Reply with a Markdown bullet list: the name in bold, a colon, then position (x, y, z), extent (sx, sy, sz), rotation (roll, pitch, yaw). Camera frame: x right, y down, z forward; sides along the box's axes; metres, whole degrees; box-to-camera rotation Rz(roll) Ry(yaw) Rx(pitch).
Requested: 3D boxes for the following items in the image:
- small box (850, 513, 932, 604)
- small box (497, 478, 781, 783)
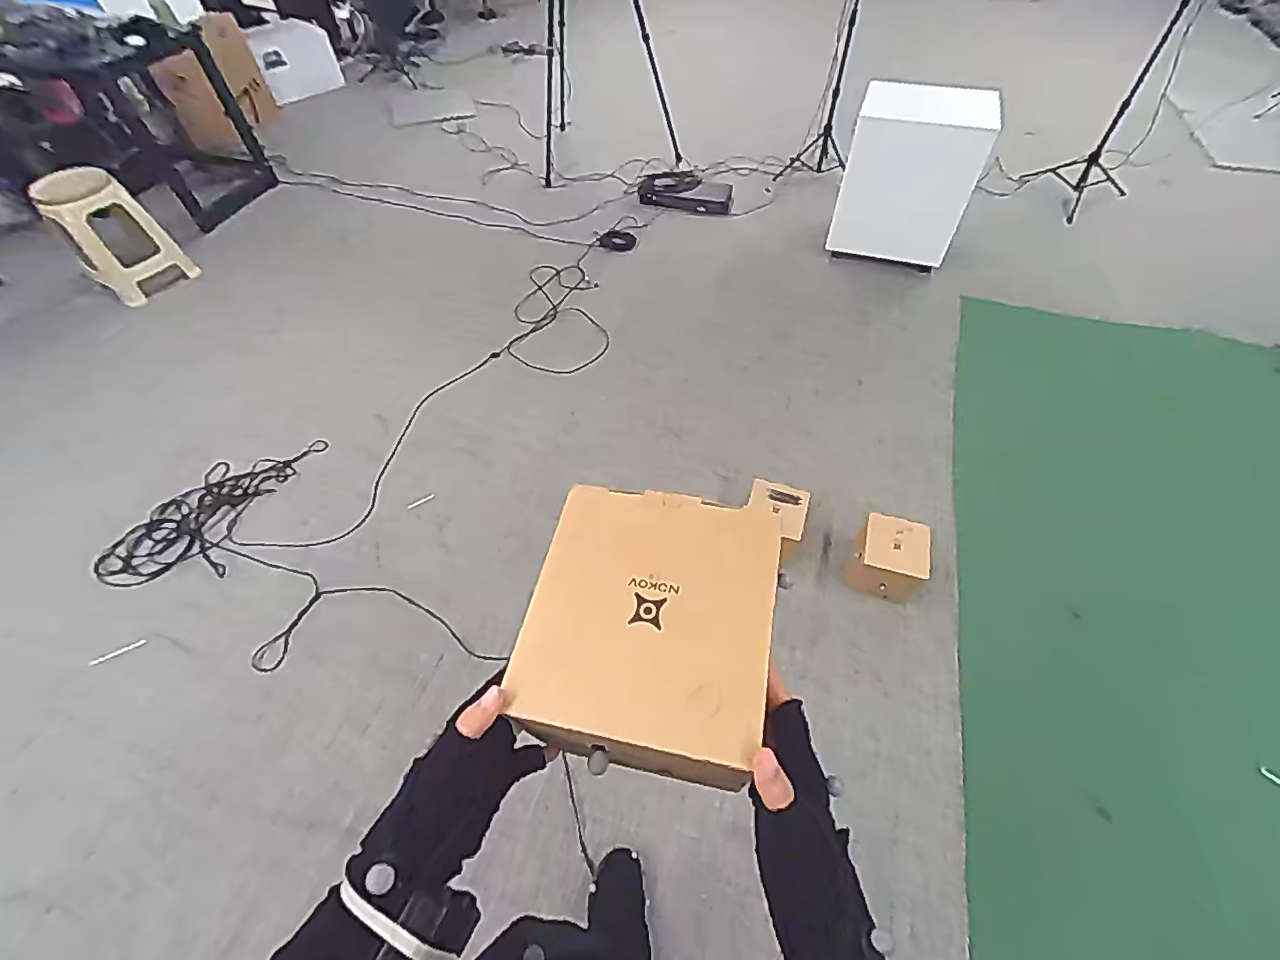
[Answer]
- **small box**: position (0.703, 0.226, 1.525), extent (0.168, 0.176, 0.179), rotation (14, 55, 12)
- **small box**: position (0.014, 0.124, 0.431), extent (0.168, 0.176, 0.179), rotation (7, 56, 11)
